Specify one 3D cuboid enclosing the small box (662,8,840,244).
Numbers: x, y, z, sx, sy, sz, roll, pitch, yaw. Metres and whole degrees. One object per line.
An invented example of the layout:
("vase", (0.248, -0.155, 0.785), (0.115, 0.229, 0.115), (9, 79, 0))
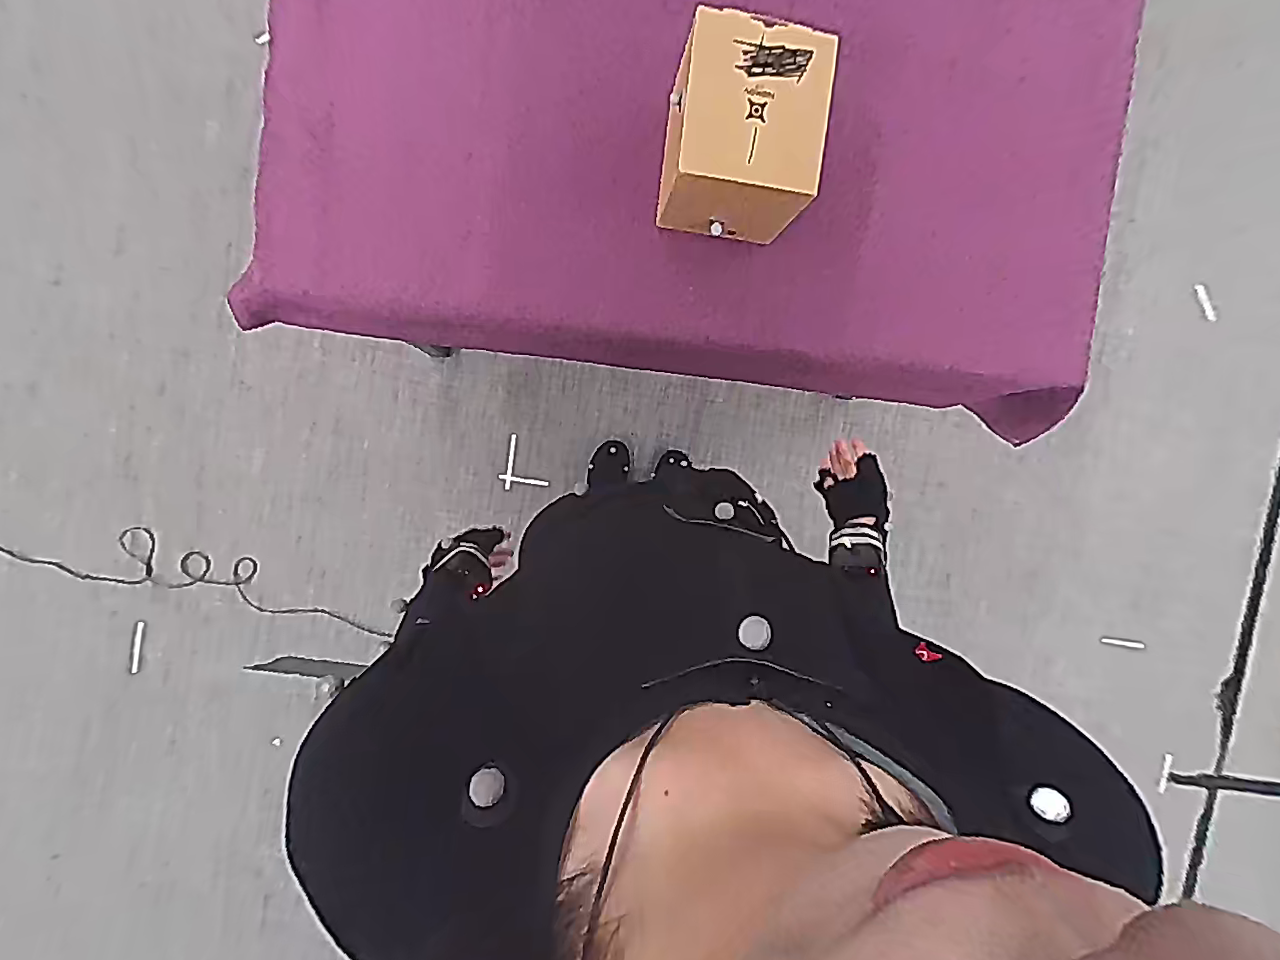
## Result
("small box", (0.126, -0.426, 0.681), (0.168, 0.176, 0.179), (6, 94, -6))
